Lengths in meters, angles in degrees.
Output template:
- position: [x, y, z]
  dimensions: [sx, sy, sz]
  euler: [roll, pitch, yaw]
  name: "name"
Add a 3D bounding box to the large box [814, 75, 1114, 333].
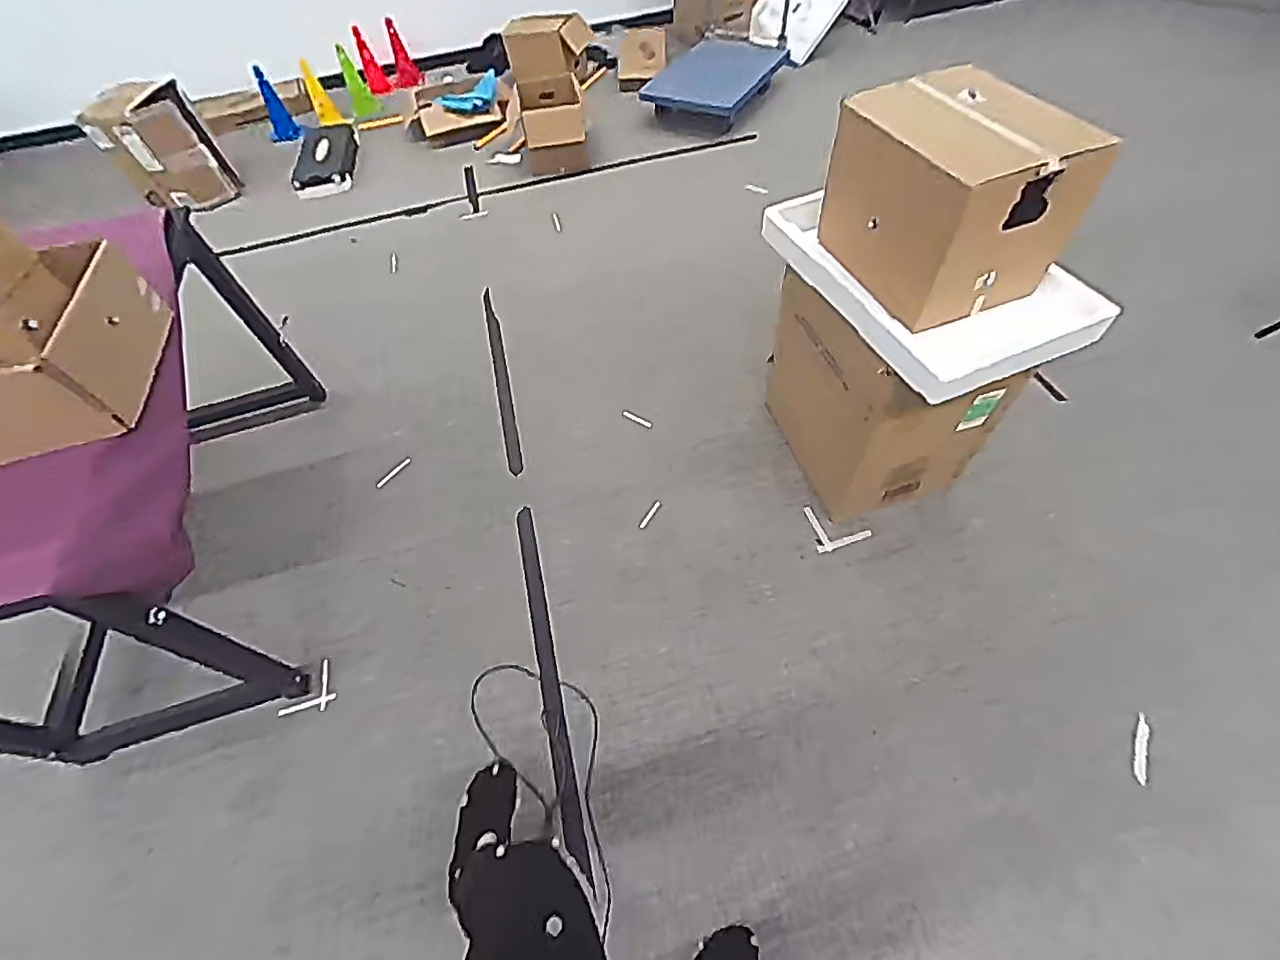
- position: [0.627, -0.584, 1.145]
  dimensions: [0.320, 0.320, 0.408]
  euler: [-19, 54, -8]
  name: "large box"
